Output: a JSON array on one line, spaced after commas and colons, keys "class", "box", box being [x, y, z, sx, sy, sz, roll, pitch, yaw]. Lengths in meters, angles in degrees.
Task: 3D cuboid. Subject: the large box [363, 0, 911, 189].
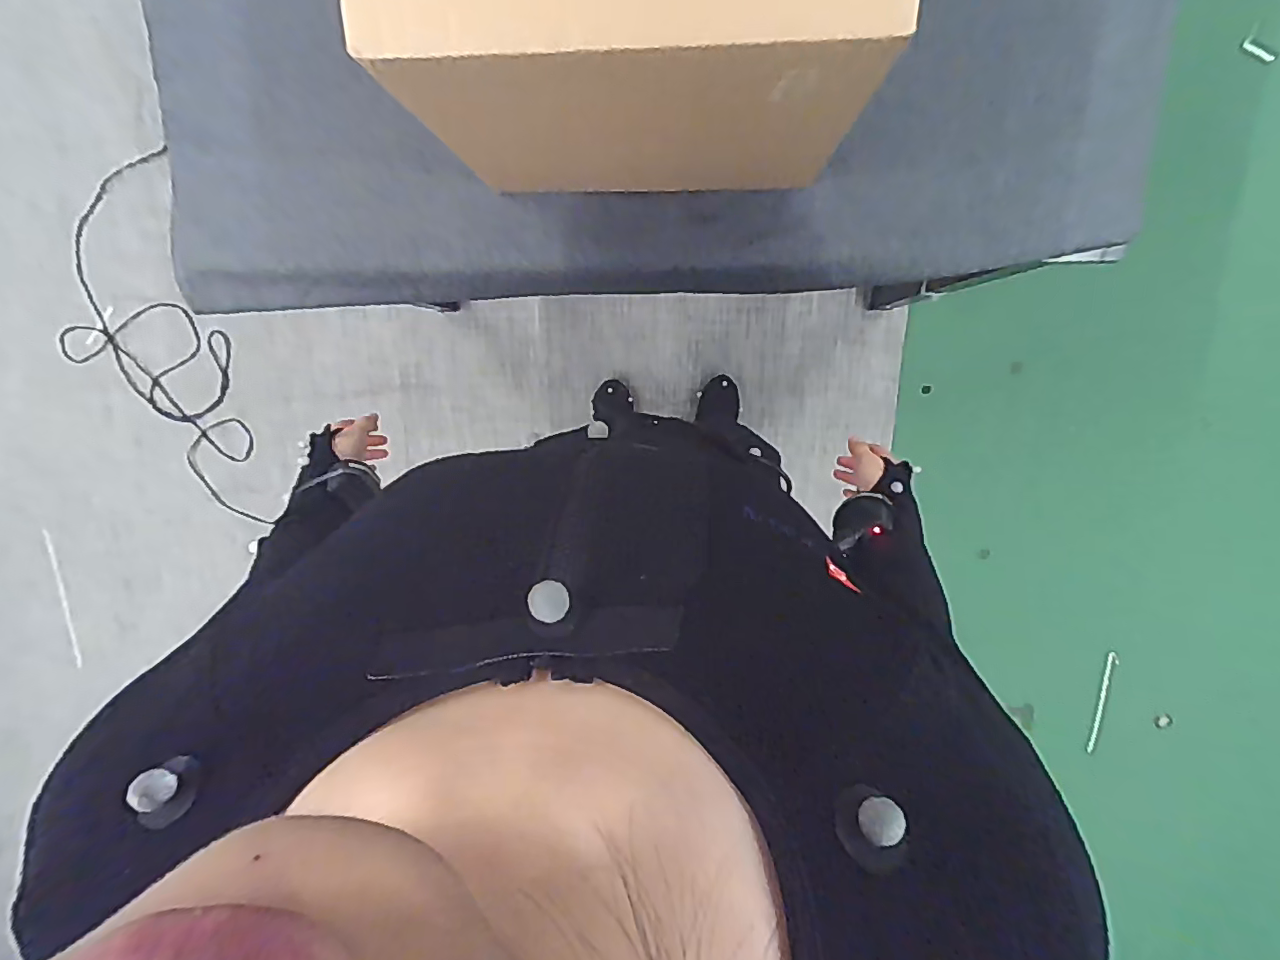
[{"class": "large box", "box": [-0.001, -0.496, 0.511, 0.408, 0.320, 0.320, 1, 102, 4]}]
